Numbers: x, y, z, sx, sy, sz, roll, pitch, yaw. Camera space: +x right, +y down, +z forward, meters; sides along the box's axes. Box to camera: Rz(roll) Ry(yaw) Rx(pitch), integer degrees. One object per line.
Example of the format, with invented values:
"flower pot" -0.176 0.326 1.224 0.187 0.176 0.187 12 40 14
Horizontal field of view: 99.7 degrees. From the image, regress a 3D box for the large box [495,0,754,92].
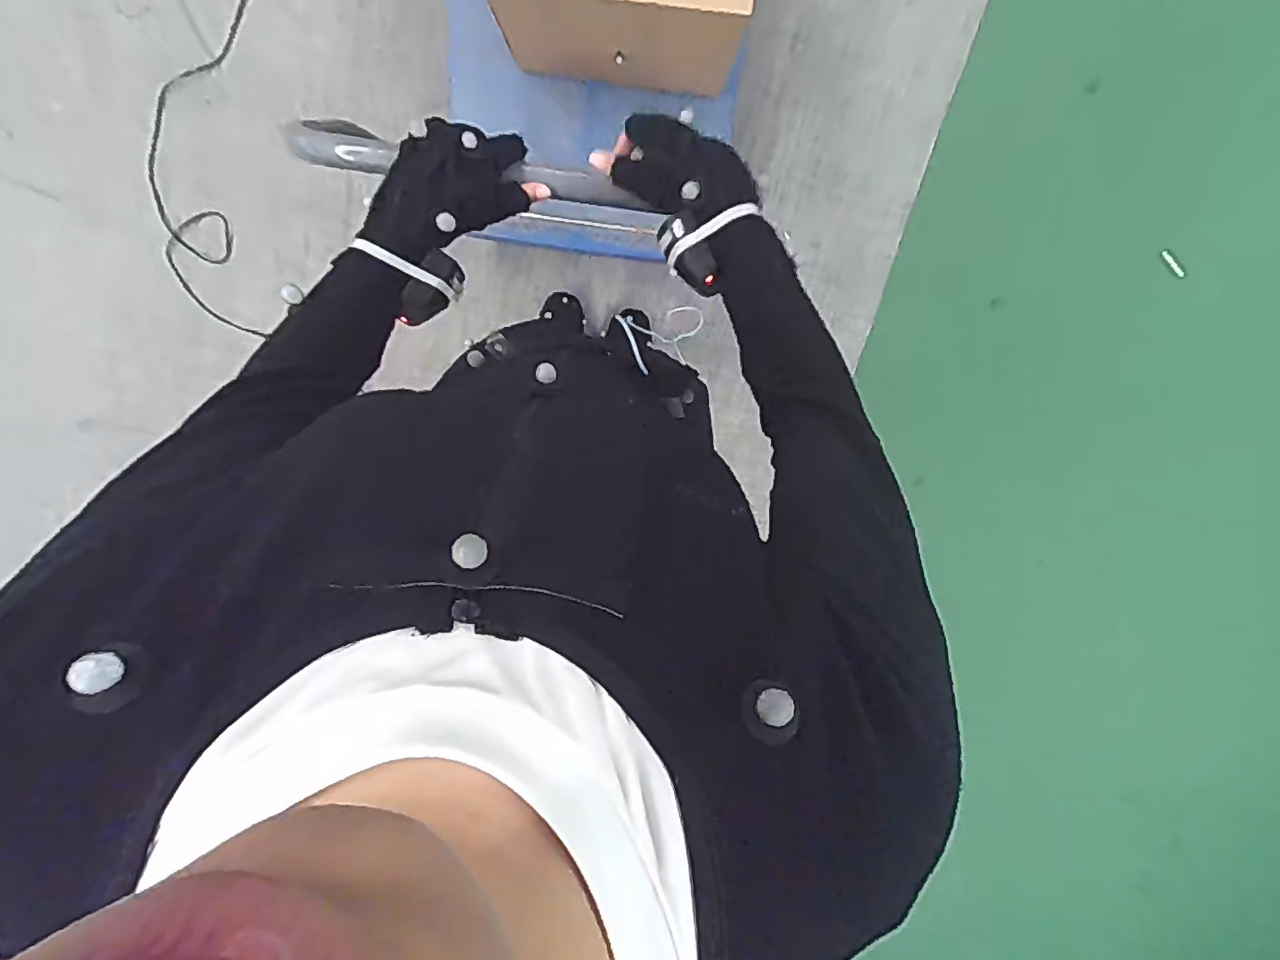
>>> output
"large box" -0.012 -0.899 0.908 0.408 0.320 0.320 6 106 -1
